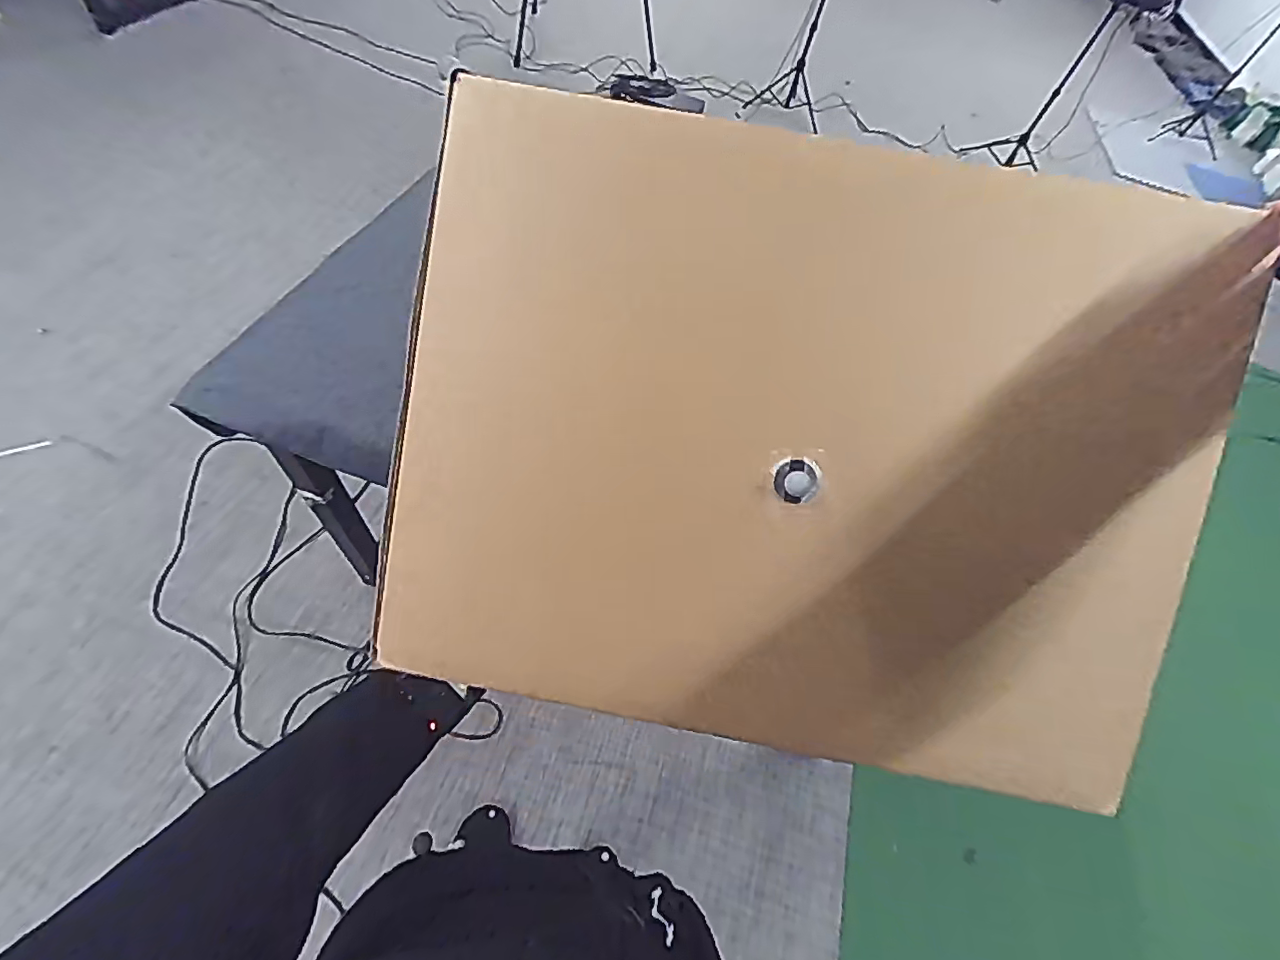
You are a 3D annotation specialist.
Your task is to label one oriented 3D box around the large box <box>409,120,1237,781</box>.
[{"bbox_3d":[0.089,-0.018,0.434,0.408,0.320,0.320,9,96,1],"label":"large box"}]
